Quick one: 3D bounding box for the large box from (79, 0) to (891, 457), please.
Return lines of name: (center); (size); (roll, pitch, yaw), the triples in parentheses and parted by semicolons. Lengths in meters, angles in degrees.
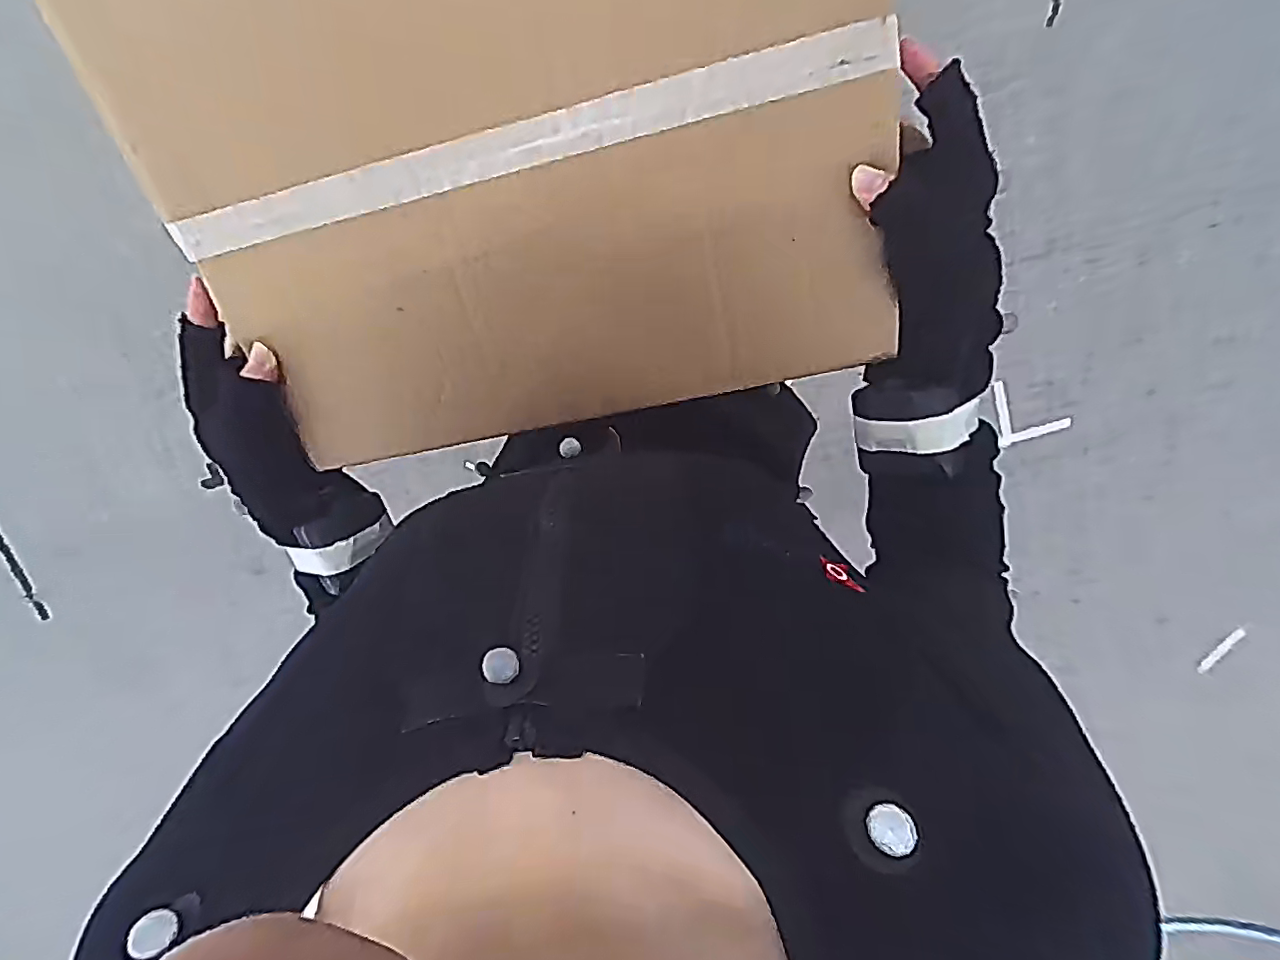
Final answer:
large box: (-0.064, -0.252, 0.431); (0.408, 0.320, 0.320); (-10, 118, 9)
